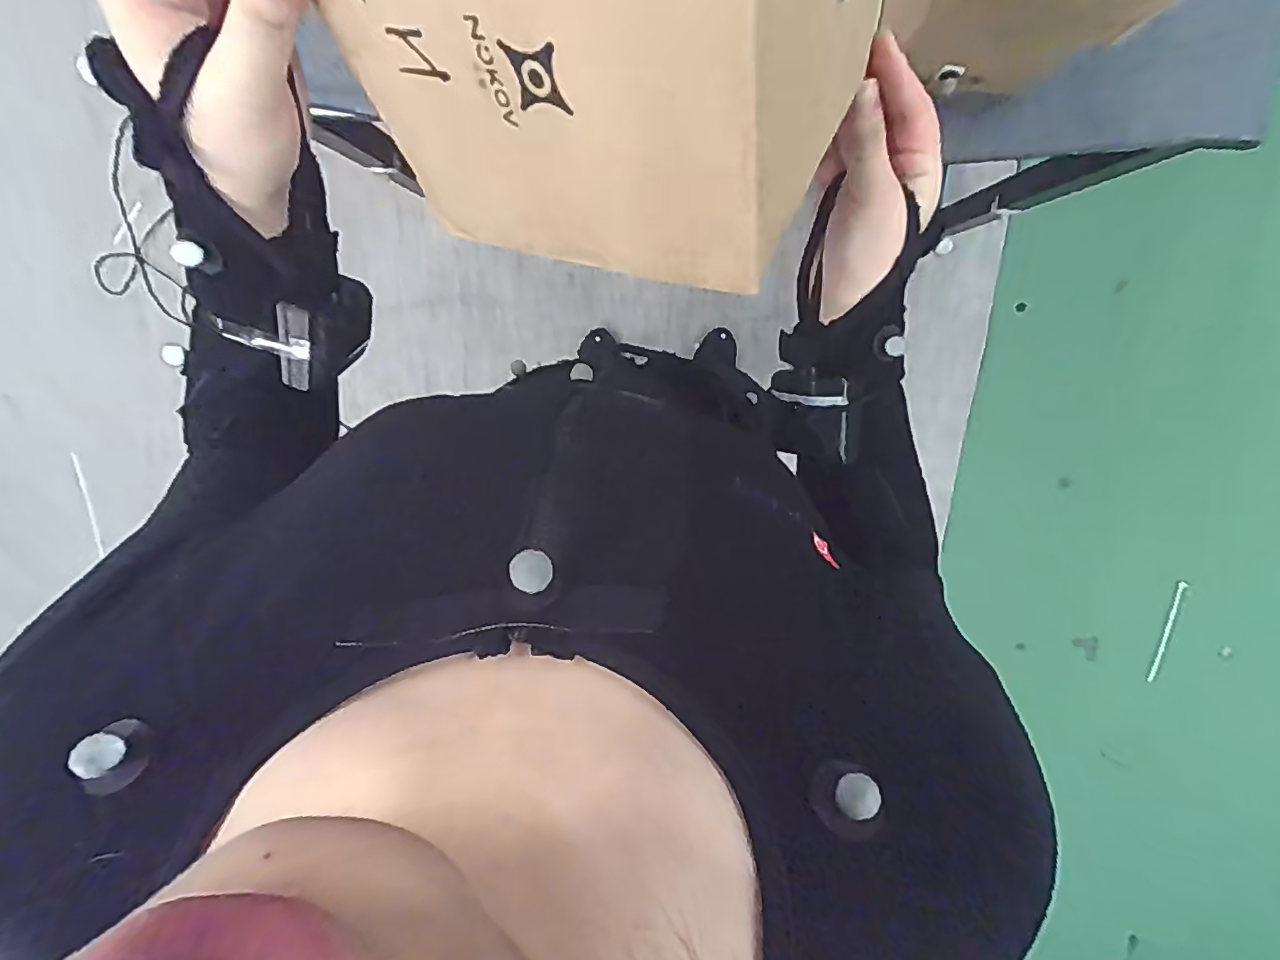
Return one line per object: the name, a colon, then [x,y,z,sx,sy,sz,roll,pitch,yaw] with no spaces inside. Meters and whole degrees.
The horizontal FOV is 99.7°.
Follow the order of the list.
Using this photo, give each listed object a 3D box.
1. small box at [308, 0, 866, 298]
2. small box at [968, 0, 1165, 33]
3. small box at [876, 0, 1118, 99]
small box: [-0.007,-0.208,0.217,0.179,0.168,0.176,20,69,20]
small box: [0.330,-0.441,0.352,0.179,0.176,0.168,15,105,1]
small box: [0.341,-0.496,0.506,0.168,0.176,0.179,5,105,3]
